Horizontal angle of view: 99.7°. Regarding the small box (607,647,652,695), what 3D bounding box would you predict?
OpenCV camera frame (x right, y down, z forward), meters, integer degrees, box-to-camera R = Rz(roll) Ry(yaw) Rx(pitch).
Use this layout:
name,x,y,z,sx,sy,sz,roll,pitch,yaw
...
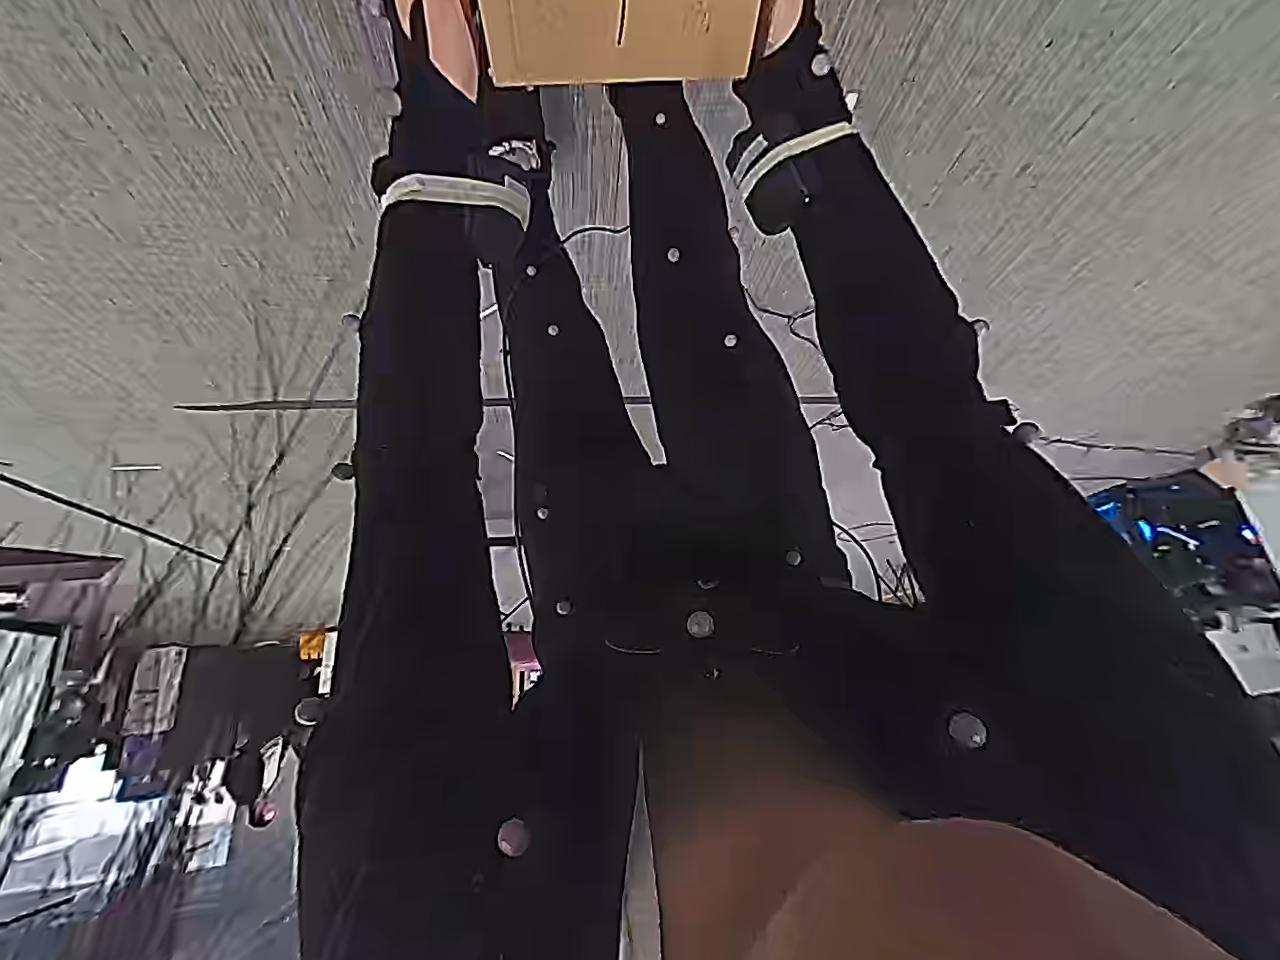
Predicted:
name,x,y,z,sx,sy,sz,roll,pitch,yaw
small box,-0.047,0.776,2.203,0.168,0.176,0.179,-3,160,-5

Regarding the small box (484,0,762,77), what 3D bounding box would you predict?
name,x,y,z,sx,sy,sz,roll,pitch,yaw
small box,-0.017,-0.371,0.308,0.168,0.176,0.179,-6,152,-6

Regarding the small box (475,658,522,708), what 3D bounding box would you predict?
name,x,y,z,sx,sy,sz,roll,pitch,yaw
small box,-0.563,0.804,2.149,0.168,0.176,0.179,-3,160,-9
